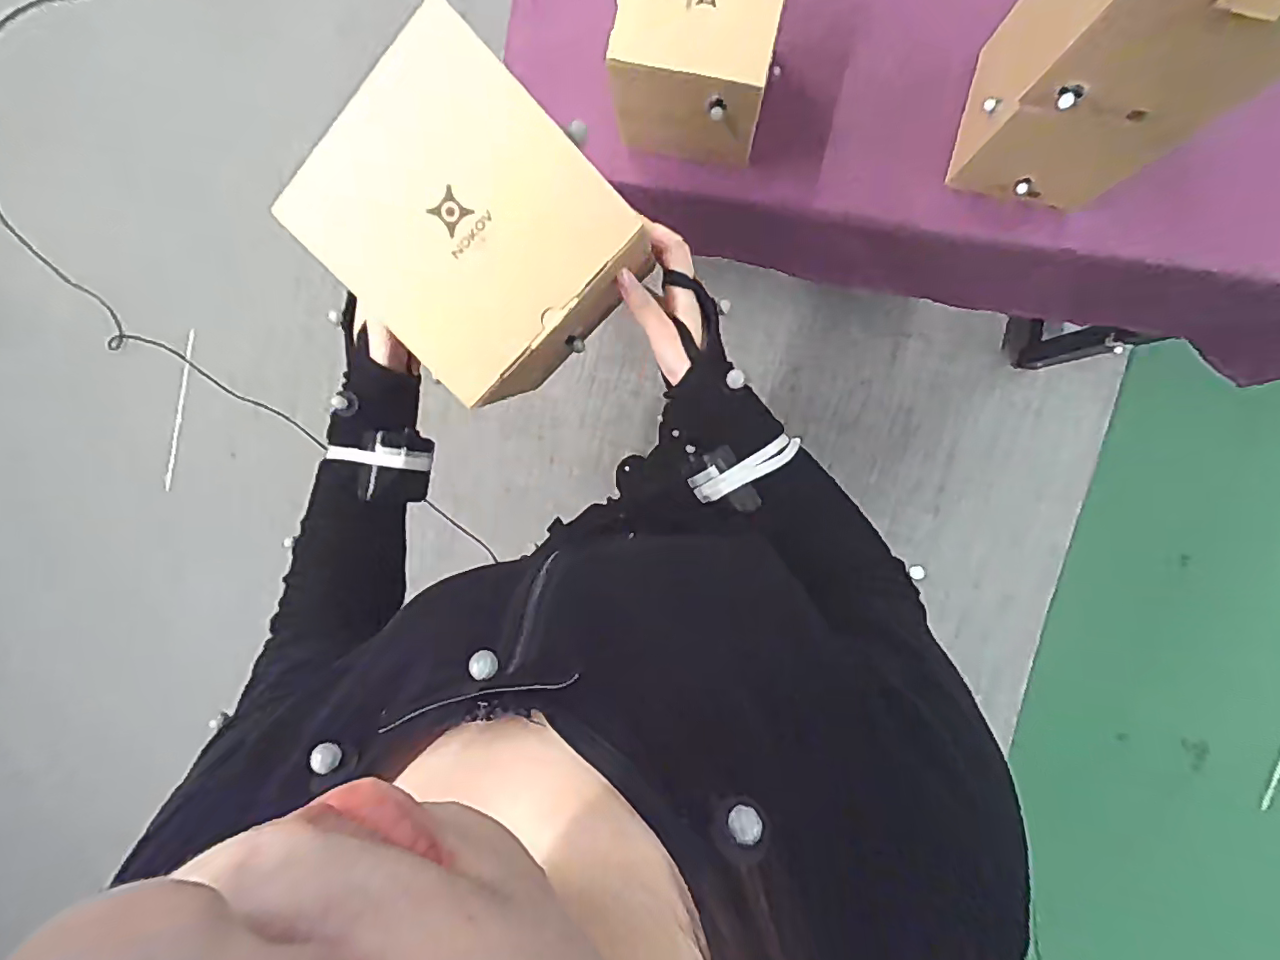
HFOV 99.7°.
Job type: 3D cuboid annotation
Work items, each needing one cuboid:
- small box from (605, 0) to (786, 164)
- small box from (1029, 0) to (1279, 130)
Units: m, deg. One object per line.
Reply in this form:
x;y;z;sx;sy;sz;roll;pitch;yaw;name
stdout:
0.071;-0.513;0.650;0.179;0.176;0.168;13;94;5;small box
0.472;-0.436;0.450;0.168;0.176;0.179;16;94;4;small box
